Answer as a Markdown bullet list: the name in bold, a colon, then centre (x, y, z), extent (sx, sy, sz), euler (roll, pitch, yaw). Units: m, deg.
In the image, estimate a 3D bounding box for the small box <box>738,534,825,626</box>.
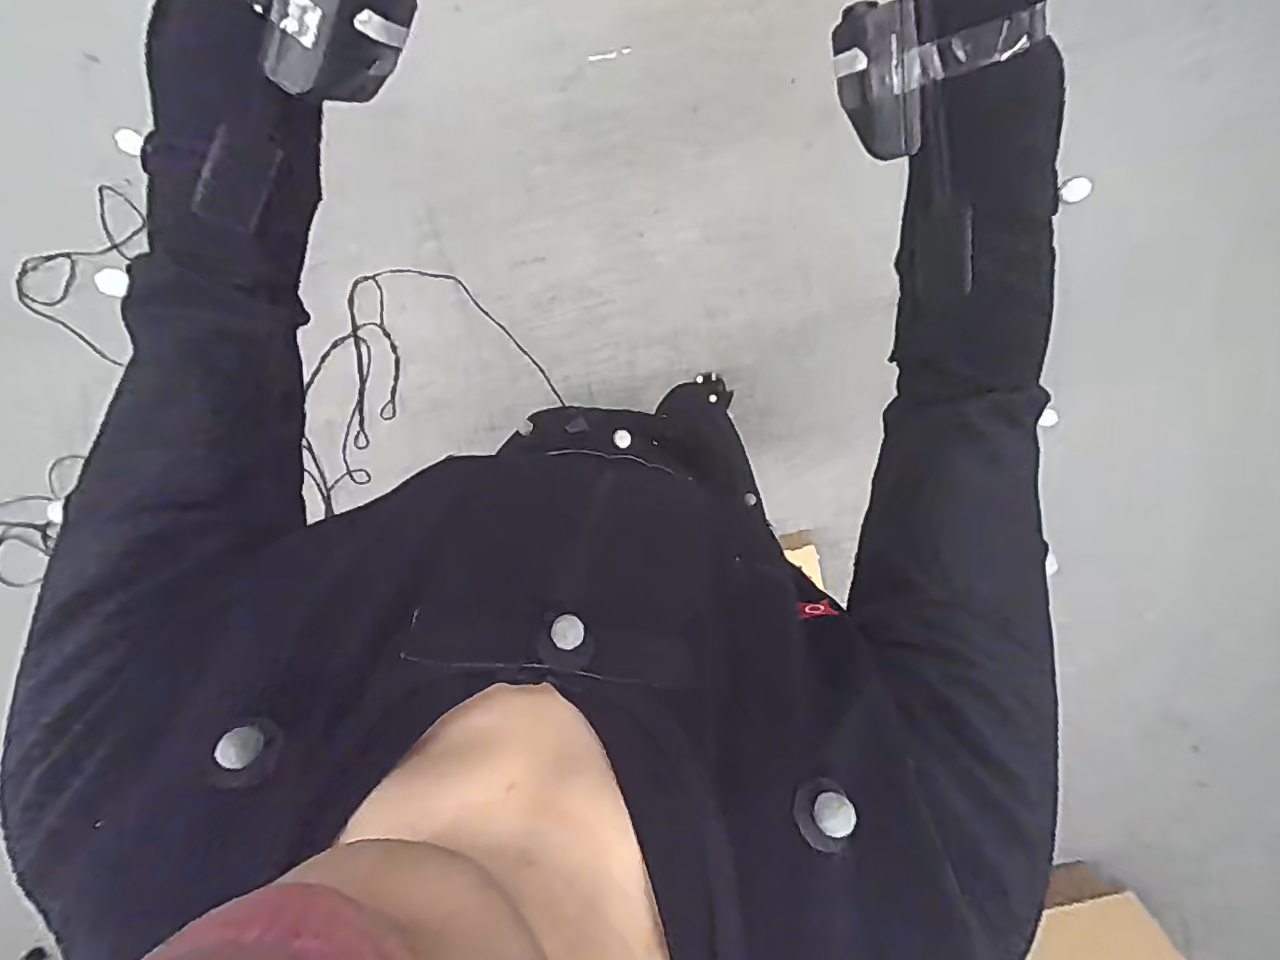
- **small box**: centre (0.359, 0.254, 1.399), extent (0.168, 0.176, 0.179), euler (-13, 95, 2)
